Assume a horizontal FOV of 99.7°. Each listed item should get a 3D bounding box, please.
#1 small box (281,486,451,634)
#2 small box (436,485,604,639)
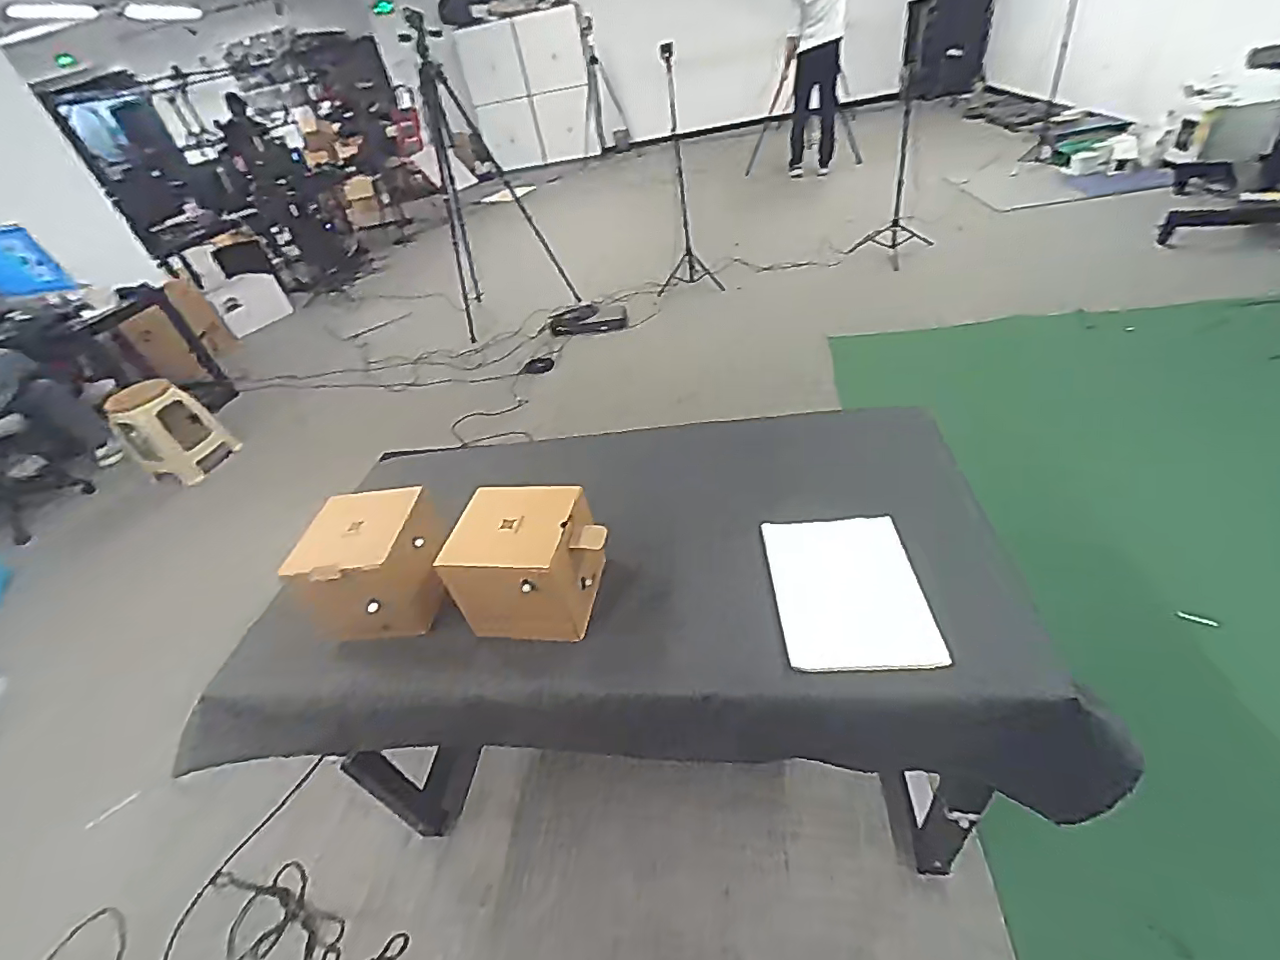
[{"bbox_3d":[-0.422,0.135,0.880,0.168,0.176,0.179,-6,38,6],"label":"small box"},{"bbox_3d":[-0.169,0.124,0.824,0.179,0.176,0.168,-1,40,14],"label":"small box"}]
